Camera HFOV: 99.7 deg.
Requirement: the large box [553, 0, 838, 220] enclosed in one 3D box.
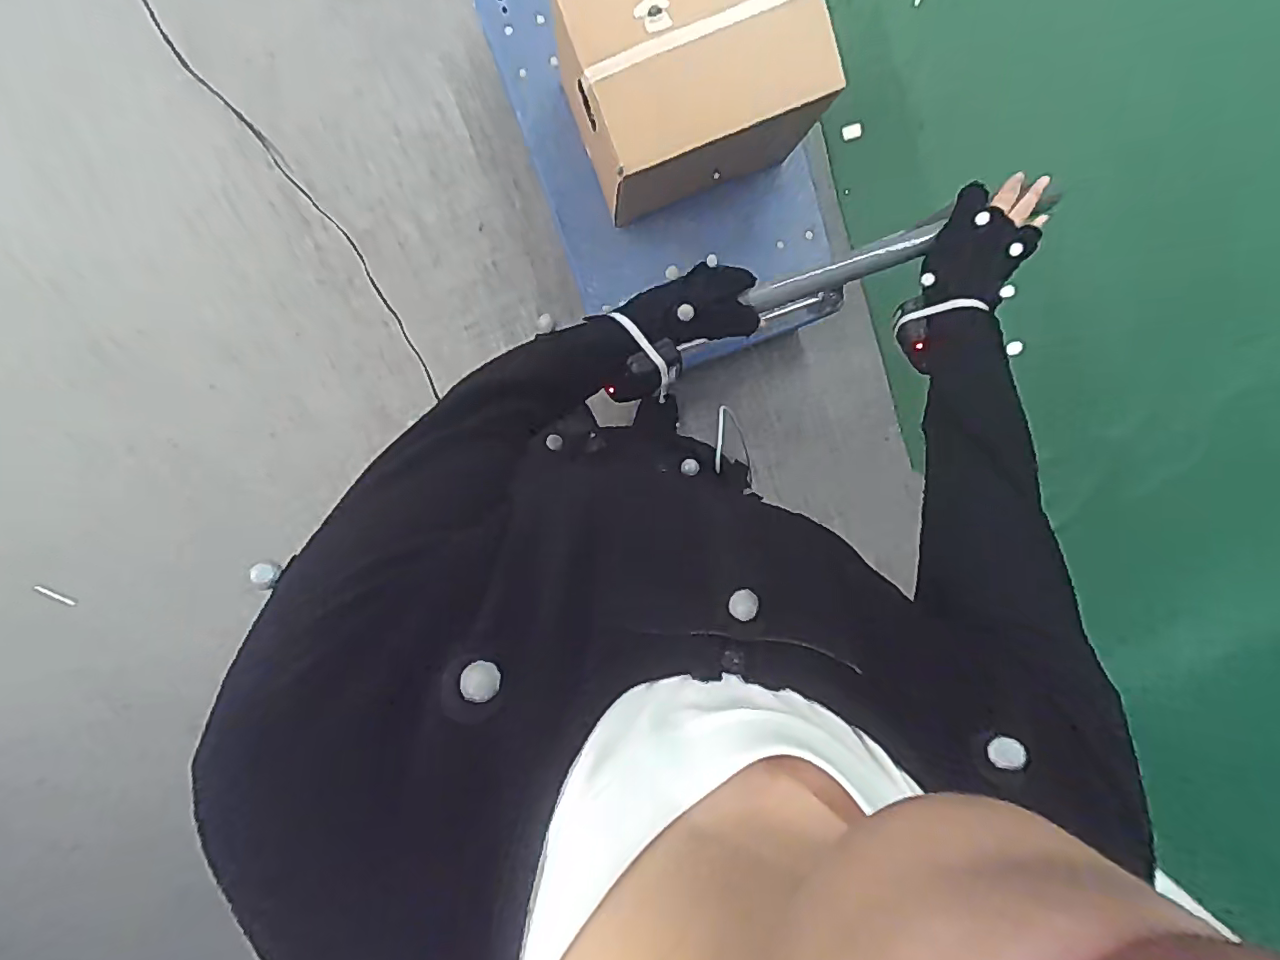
[{"bbox_3d":[0.088,-0.756,1.025,0.408,0.320,0.320,-22,101,1],"label":"large box"}]
